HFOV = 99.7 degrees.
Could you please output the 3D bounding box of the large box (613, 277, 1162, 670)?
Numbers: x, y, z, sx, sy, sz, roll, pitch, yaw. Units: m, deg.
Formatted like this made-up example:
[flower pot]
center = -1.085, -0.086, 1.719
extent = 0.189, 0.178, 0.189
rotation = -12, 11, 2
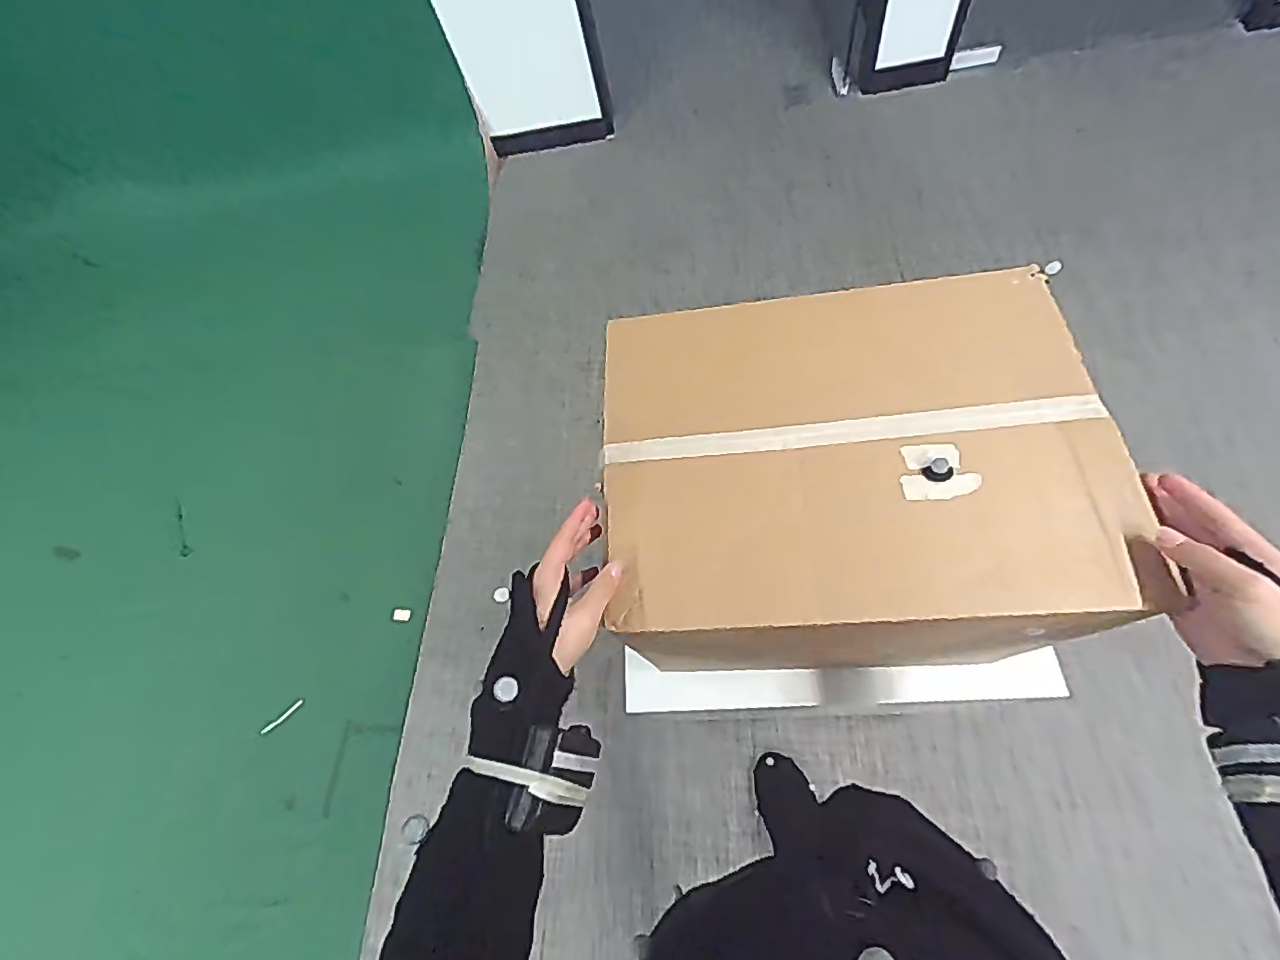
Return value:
[large box]
center = 0.193, 0.025, 0.603
extent = 0.408, 0.320, 0.320
rotation = -5, 65, 7
